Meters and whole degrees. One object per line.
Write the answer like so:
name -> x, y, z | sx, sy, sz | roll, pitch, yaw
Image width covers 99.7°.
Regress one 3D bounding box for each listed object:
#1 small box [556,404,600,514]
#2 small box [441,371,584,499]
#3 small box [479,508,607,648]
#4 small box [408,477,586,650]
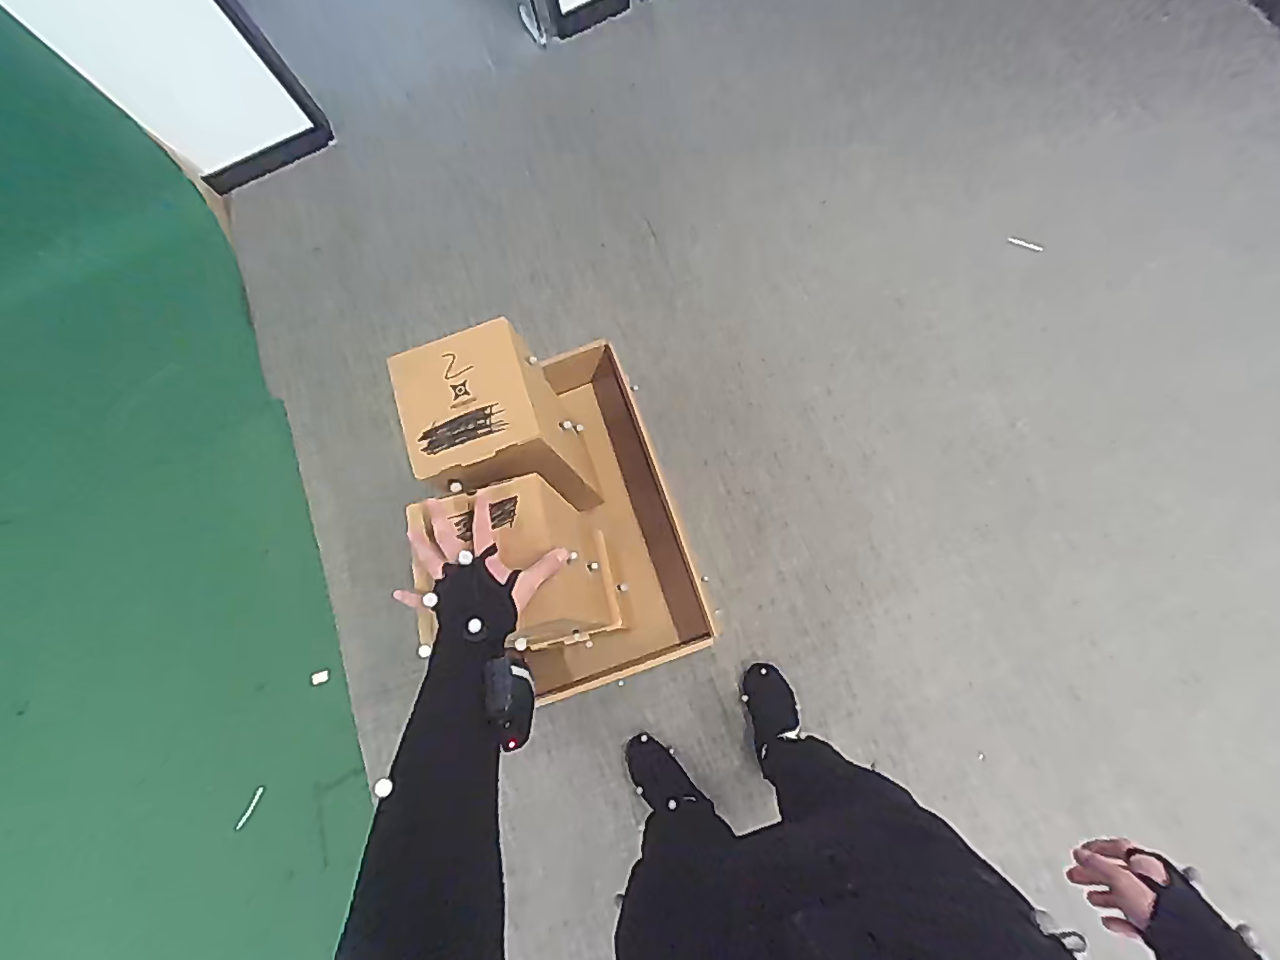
small box -> -0.192, -0.021, 1.078 | 0.168, 0.176, 0.179 | -20, 77, 2
small box -> -0.208, -0.053, 0.920 | 0.168, 0.176, 0.179 | -21, 78, 1
small box -> -0.156, 0.160, 0.858 | 0.168, 0.176, 0.179 | -14, 72, 3
small box -> -0.176, 0.114, 0.701 | 0.168, 0.176, 0.179 | -13, 74, 3
